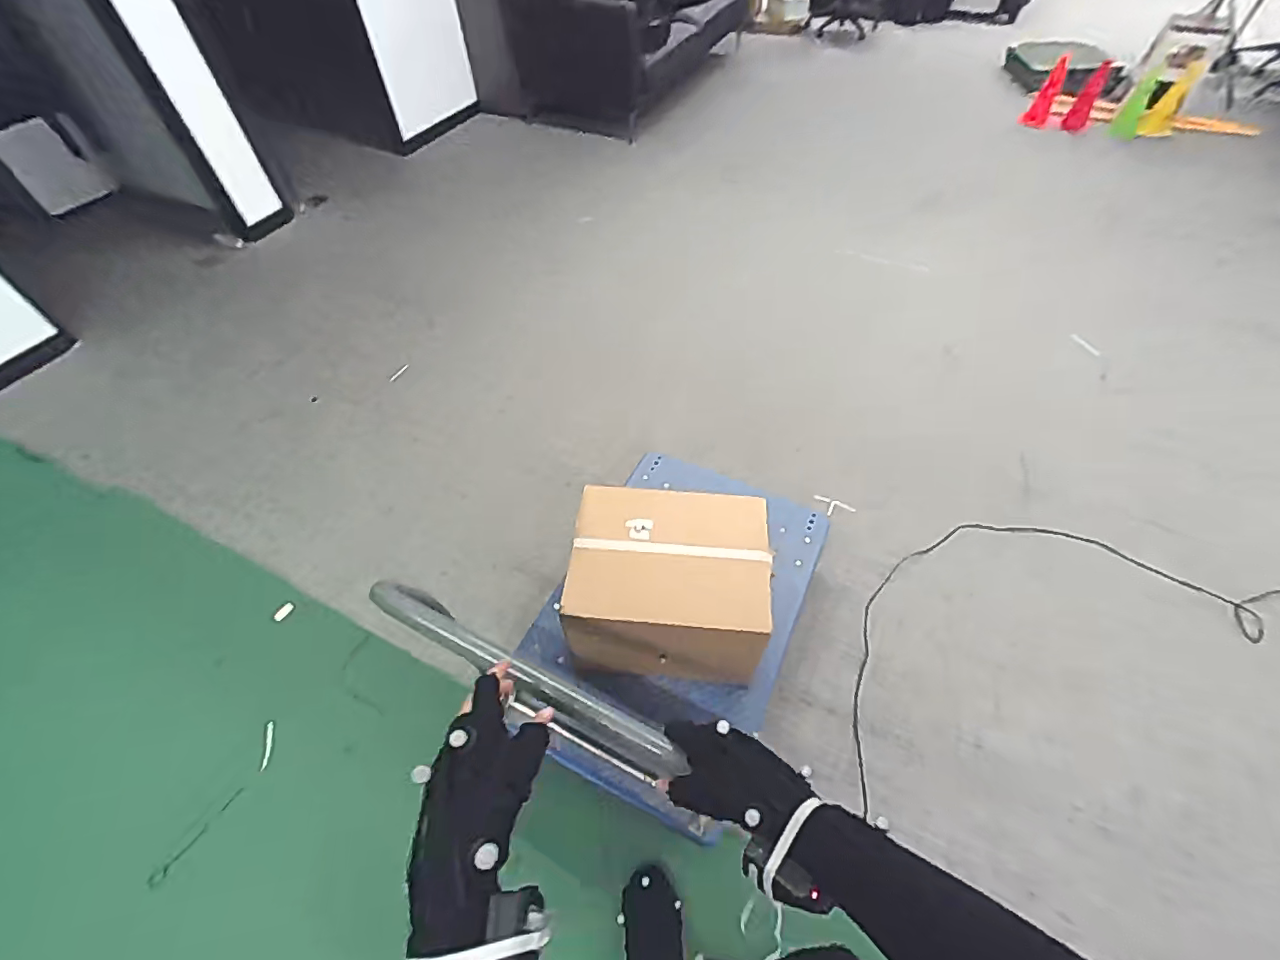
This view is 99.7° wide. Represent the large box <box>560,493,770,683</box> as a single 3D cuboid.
[{"bbox_3d":[0.065,0.248,1.223,0.408,0.320,0.320,4,52,6],"label":"large box"}]
